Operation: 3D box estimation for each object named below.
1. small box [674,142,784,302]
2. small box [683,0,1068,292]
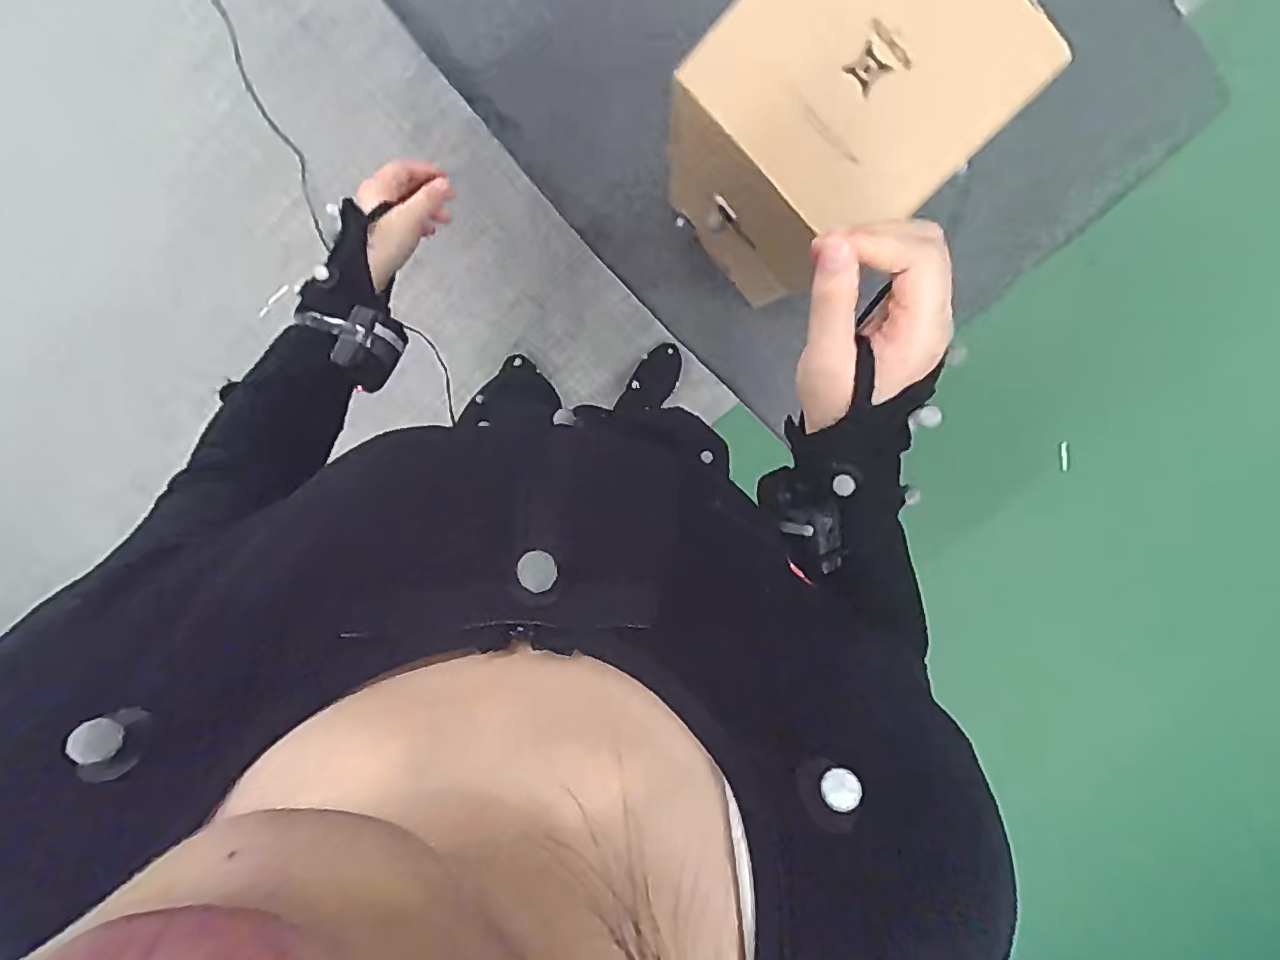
[{"bbox_3d":[0.151,-0.309,0.562,0.179,0.176,0.168,-41,99,9],"label":"small box"},{"bbox_3d":[0.144,-0.268,0.405,0.168,0.176,0.179,44,101,-7],"label":"small box"}]
